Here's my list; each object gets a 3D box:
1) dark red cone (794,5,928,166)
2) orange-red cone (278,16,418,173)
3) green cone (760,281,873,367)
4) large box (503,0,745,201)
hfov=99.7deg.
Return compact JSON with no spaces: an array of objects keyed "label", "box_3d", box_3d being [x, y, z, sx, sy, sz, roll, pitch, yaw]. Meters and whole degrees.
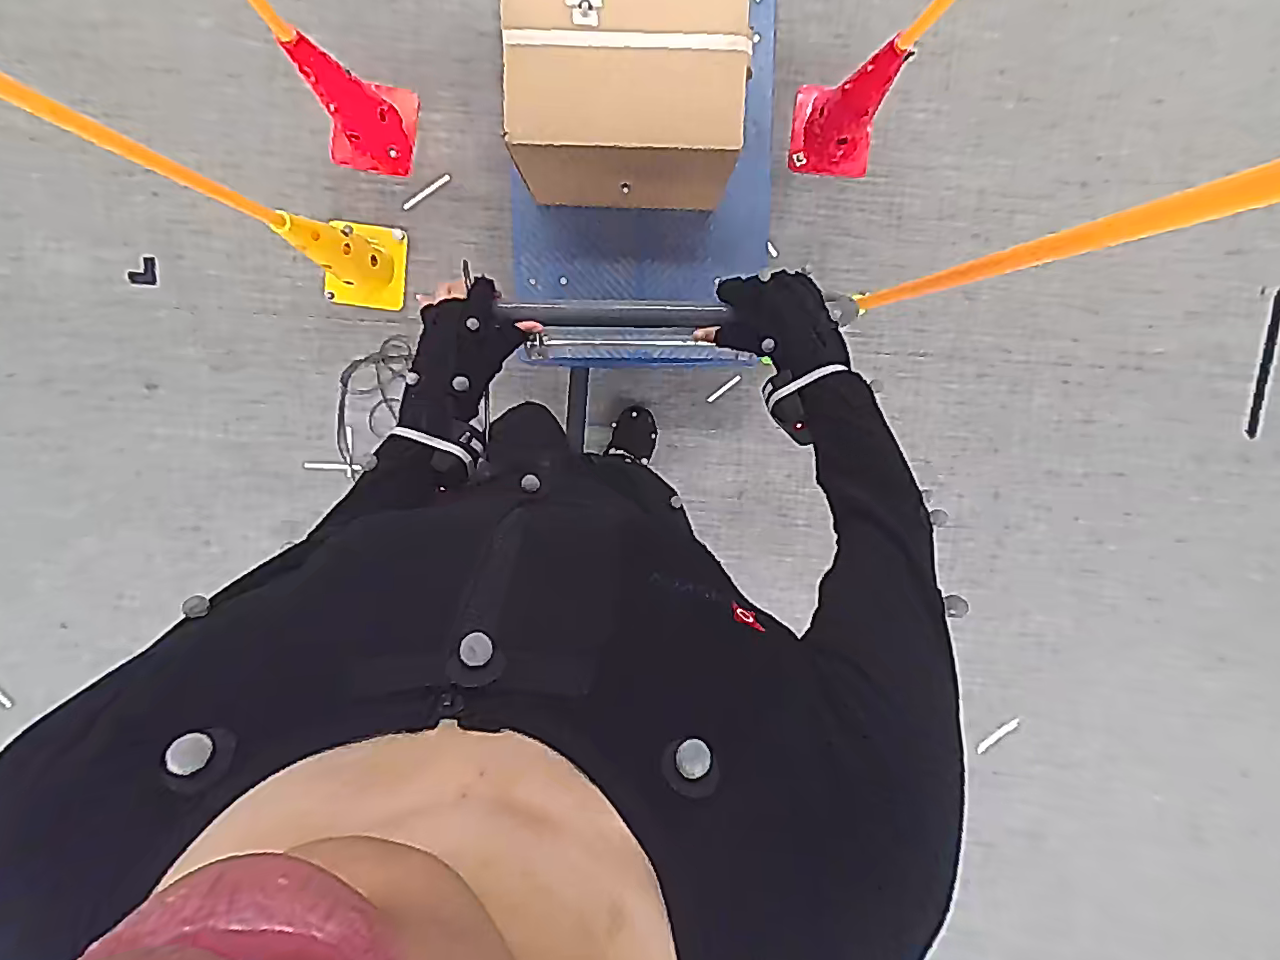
[{"label":"dark red cone","box_3d":[0.486,-0.854,1.155,0.201,0.394,0.202,4,99,-4]},{"label":"orange-red cone","box_3d":[-0.648,-0.851,1.155,0.198,0.360,0.199,11,97,-4]},{"label":"green cone","box_3d":[0.429,-0.380,1.245,0.202,0.368,0.200,8,99,-3]},{"label":"large box","box_3d":[-0.025,-0.745,1.036,0.408,0.320,0.320,1,99,0]}]
